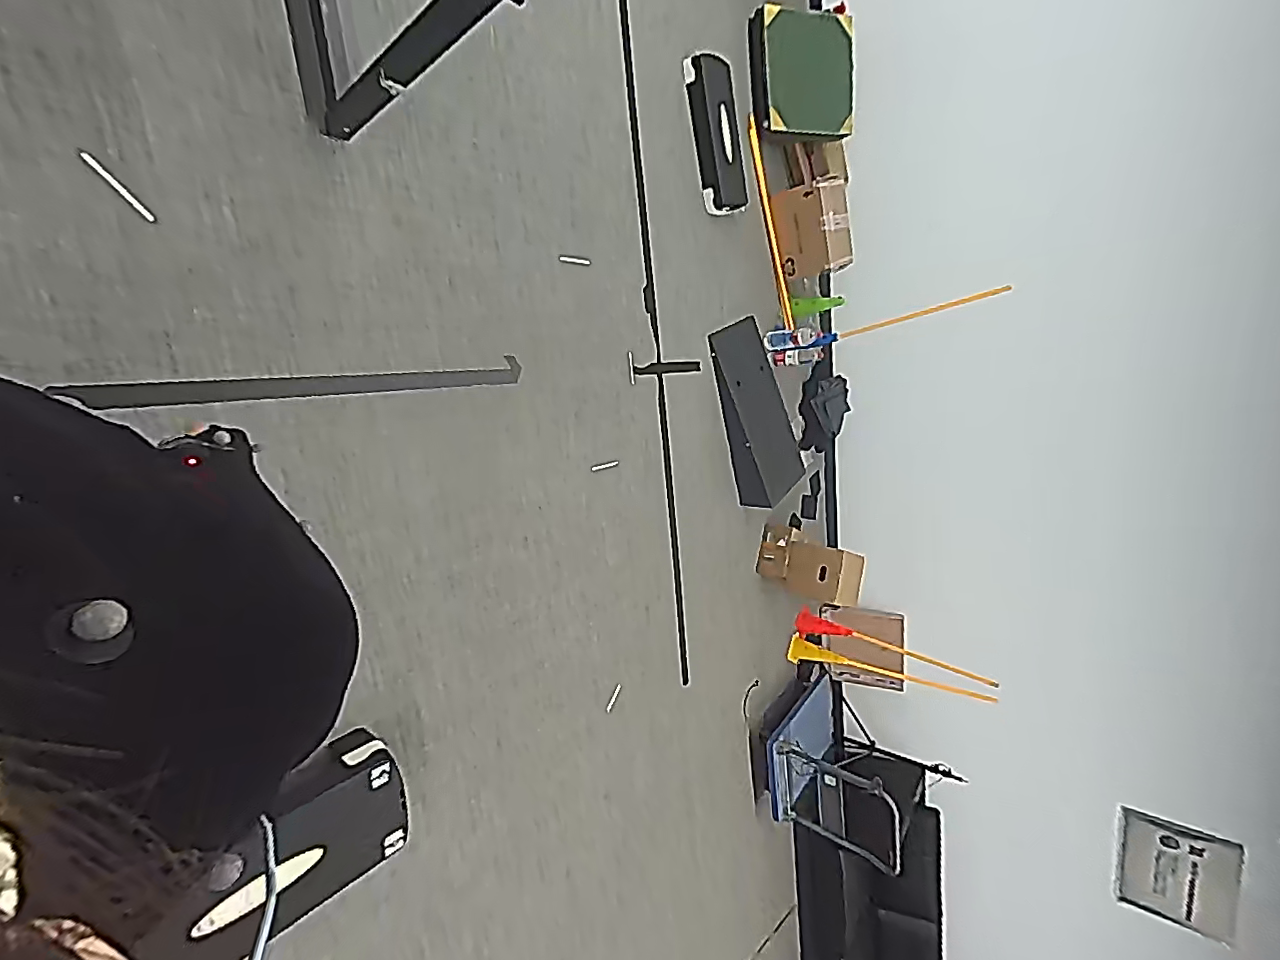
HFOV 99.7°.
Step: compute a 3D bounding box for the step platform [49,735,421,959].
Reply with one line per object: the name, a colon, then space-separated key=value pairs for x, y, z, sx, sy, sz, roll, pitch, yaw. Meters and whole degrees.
step platform: x=-0.869 y=0.891 z=1.262 sx=0.684 sy=0.204 sz=0.286 roll=-9 pitch=99 yaw=-50
